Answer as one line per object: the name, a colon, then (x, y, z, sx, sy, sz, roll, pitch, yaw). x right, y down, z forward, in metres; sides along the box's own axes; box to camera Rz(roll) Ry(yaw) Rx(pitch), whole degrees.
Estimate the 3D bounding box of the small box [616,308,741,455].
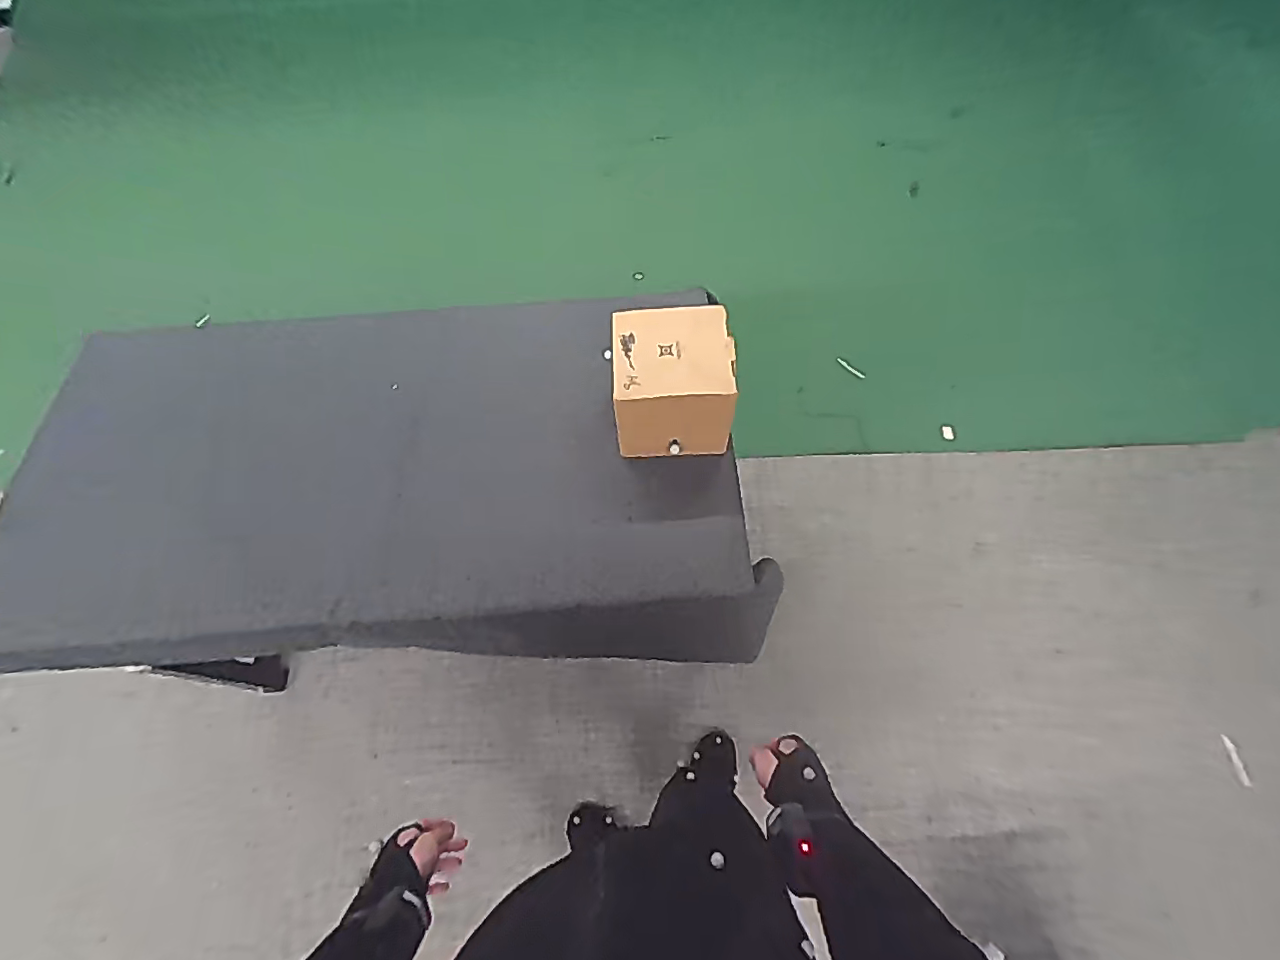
small box: (0.052, -0.150, 0.857, 0.179, 0.176, 0.168, -1, 62, -1)
